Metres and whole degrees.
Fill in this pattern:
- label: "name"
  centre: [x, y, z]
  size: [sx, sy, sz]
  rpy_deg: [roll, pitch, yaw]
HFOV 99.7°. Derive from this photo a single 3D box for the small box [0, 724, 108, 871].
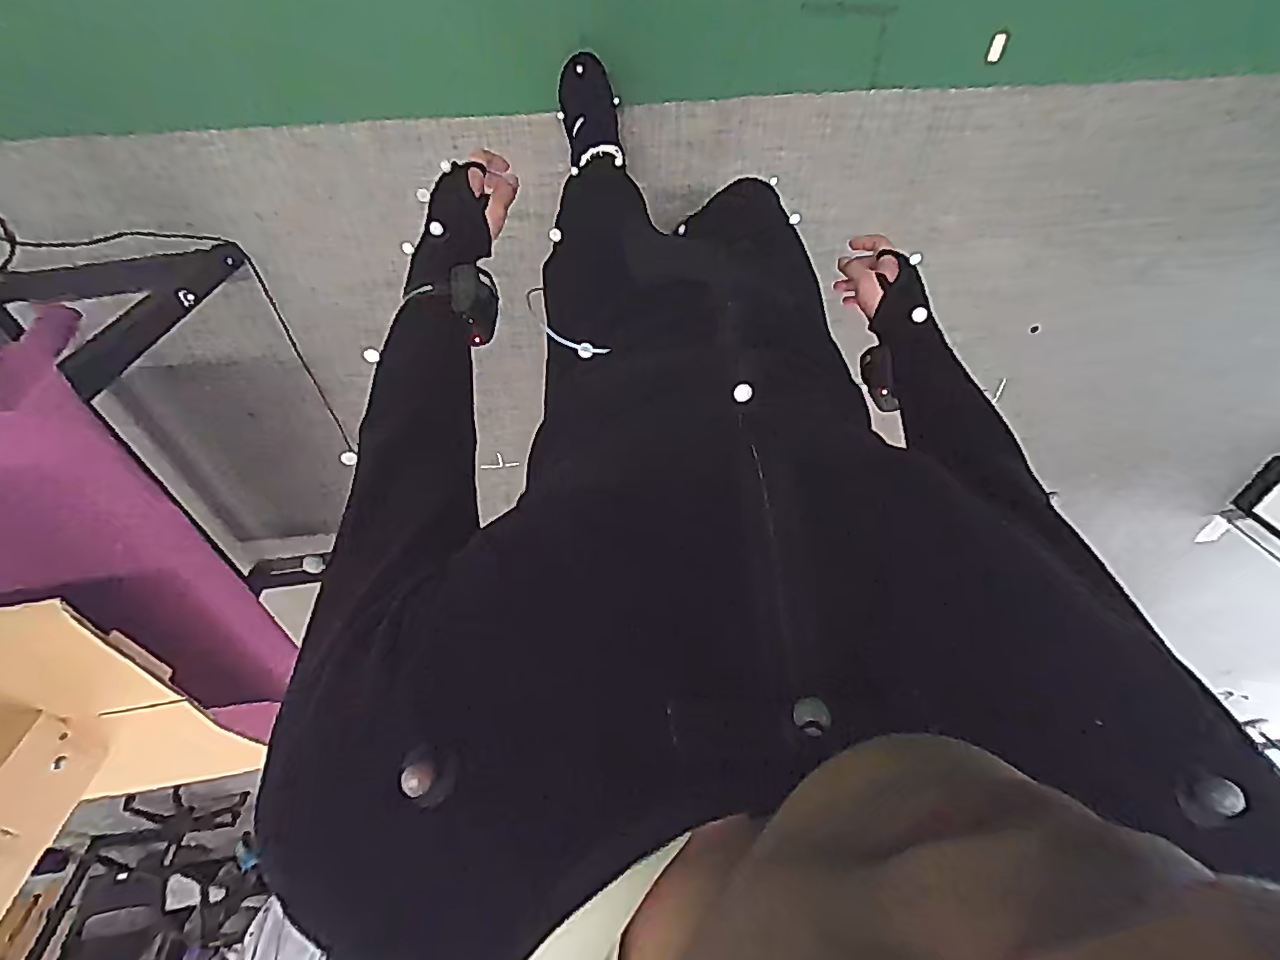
- label: "small box"
  centre: [-1.098, 0.545, 0.926]
  size: [0.179, 0.176, 0.168]
  rpy_deg: [-8, 130, -3]
